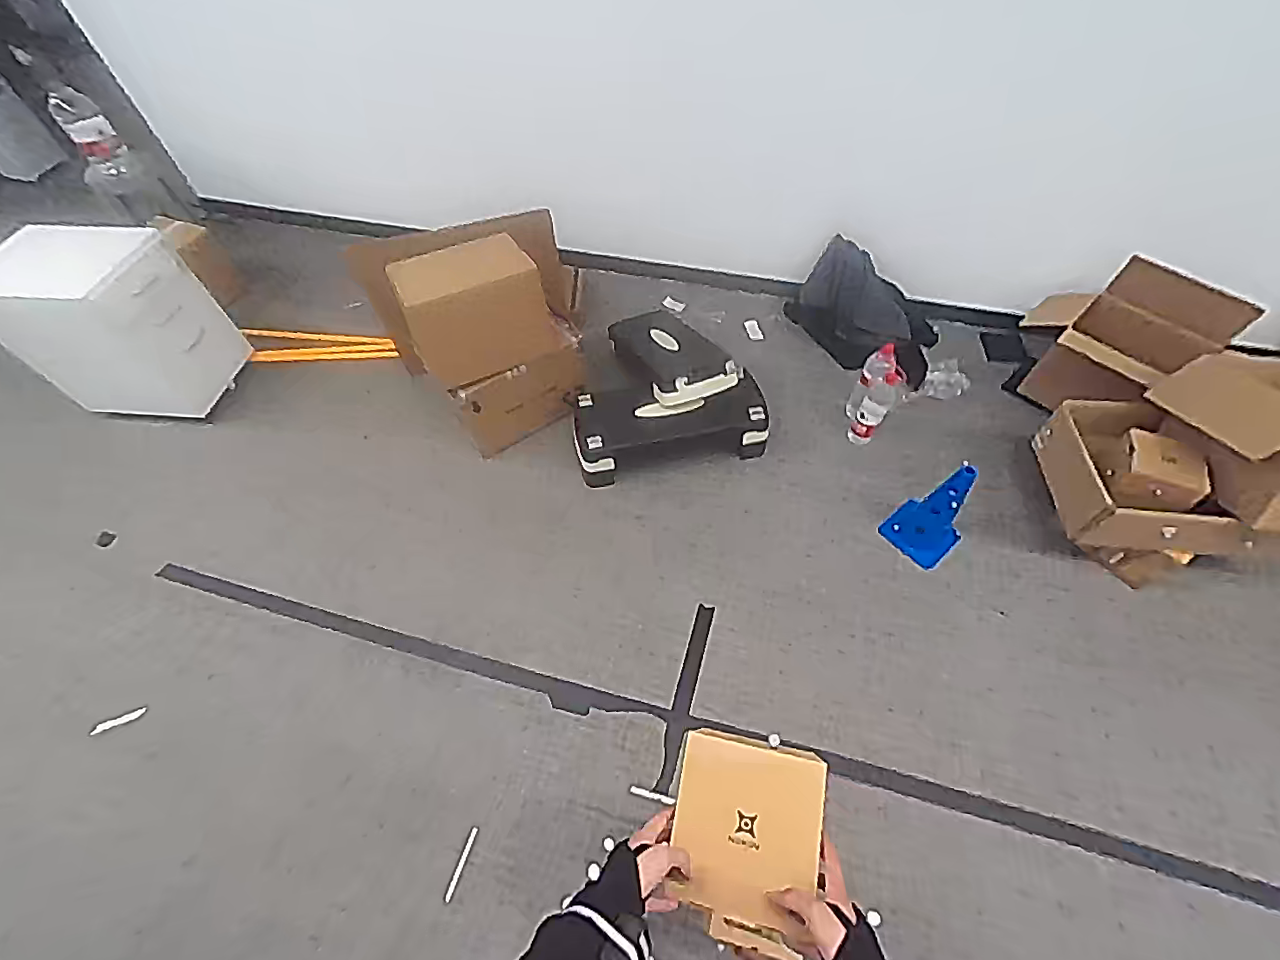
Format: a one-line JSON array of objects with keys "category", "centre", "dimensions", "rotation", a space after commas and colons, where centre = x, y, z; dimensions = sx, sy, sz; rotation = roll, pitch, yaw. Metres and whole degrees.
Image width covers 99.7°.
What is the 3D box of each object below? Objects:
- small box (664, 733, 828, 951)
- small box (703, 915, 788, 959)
[{"category": "small box", "centre": [0.136, 0.432, 0.685], "dimensions": [0.168, 0.176, 0.179], "rotation": [7, 70, 15]}, {"category": "small box", "centre": [0.235, 0.914, 1.194], "dimensions": [0.168, 0.176, 0.179], "rotation": [10, 57, 9]}]
